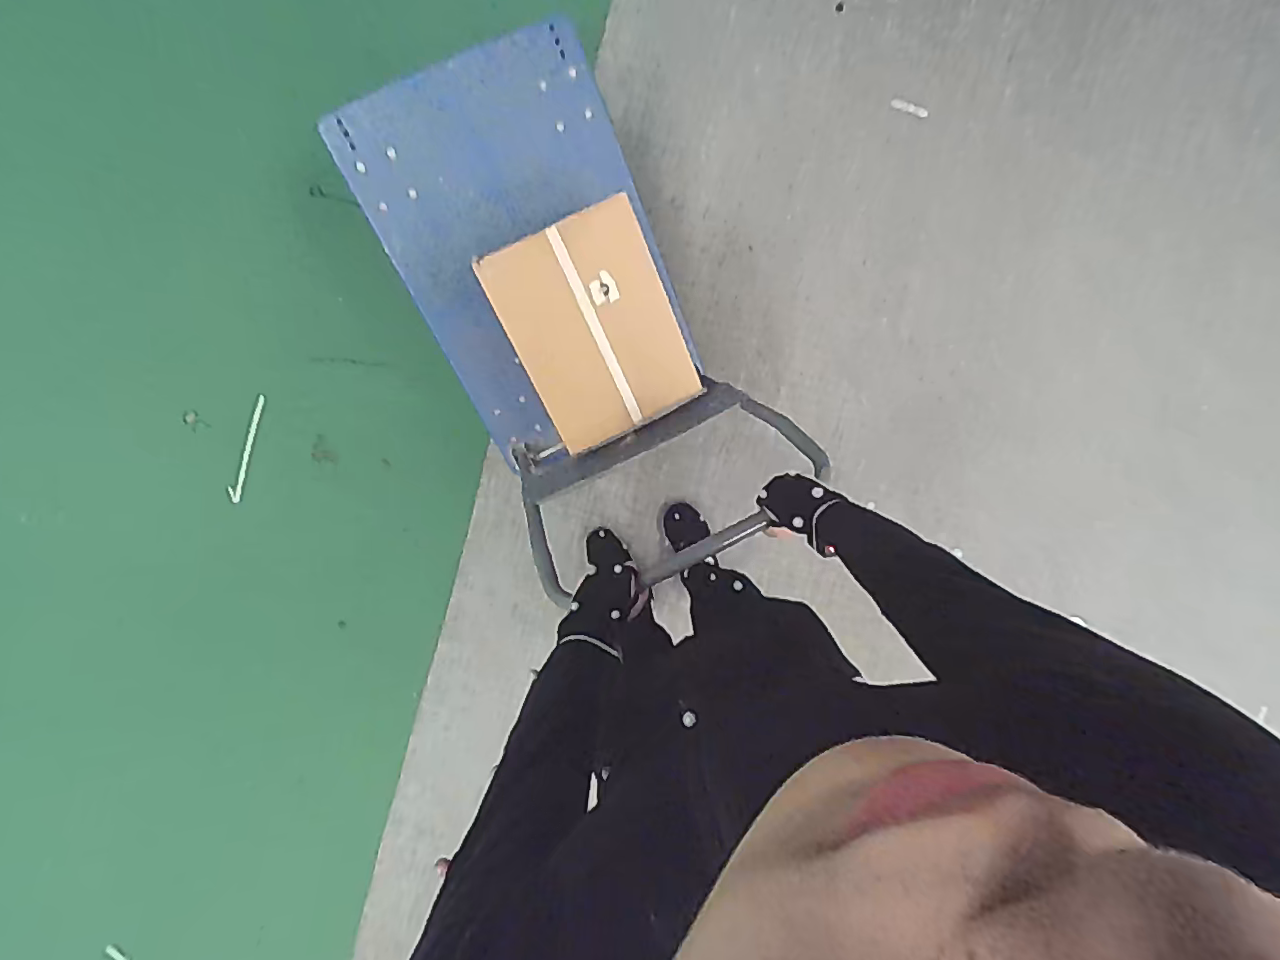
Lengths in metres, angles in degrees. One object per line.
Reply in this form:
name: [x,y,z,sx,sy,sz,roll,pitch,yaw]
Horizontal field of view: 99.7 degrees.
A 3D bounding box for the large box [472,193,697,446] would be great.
large box: [-0.122,-0.347,1.203,0.320,0.320,0.408,-27,112,-4]
